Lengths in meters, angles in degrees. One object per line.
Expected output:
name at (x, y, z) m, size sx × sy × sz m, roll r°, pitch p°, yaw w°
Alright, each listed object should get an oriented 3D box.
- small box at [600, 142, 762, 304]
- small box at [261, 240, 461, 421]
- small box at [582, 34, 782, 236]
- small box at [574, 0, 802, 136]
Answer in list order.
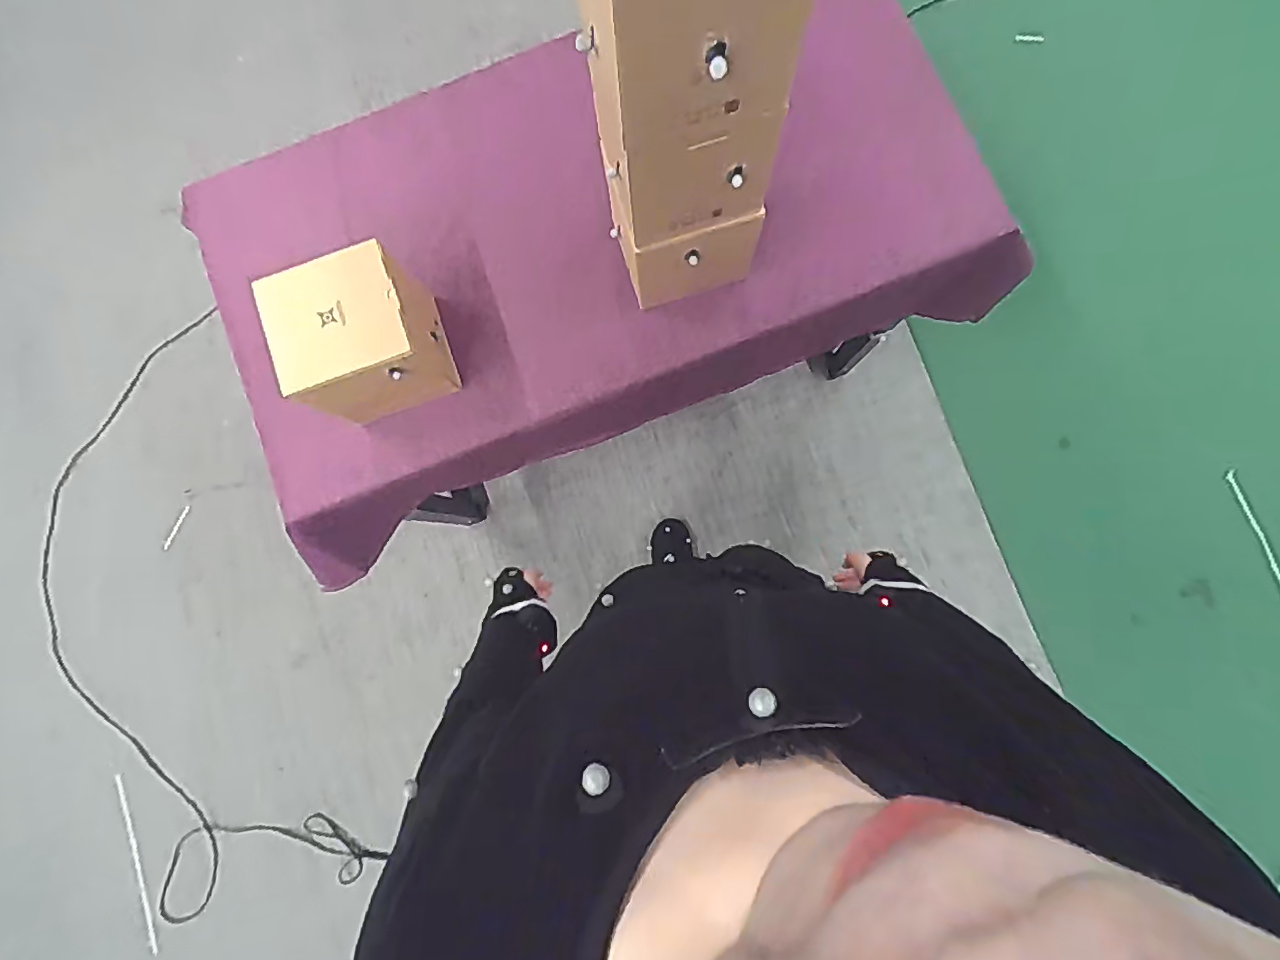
small box at (0.057, -0.376, 0.769) m, size 0.179 × 0.176 × 0.168 m, roll -16°, pitch 83°, yaw 2°
small box at (-0.388, -0.201, 0.776) m, size 0.179 × 0.176 × 0.168 m, roll -20°, pitch 82°, yaw 0°
small box at (0.044, -0.404, 0.609) m, size 0.168 × 0.176 × 0.179 m, roll -16°, pitch 81°, yaw 1°
small box at (0.031, -0.424, 0.446) m, size 0.168 × 0.176 × 0.179 m, roll -17°, pitch 83°, yaw 0°
